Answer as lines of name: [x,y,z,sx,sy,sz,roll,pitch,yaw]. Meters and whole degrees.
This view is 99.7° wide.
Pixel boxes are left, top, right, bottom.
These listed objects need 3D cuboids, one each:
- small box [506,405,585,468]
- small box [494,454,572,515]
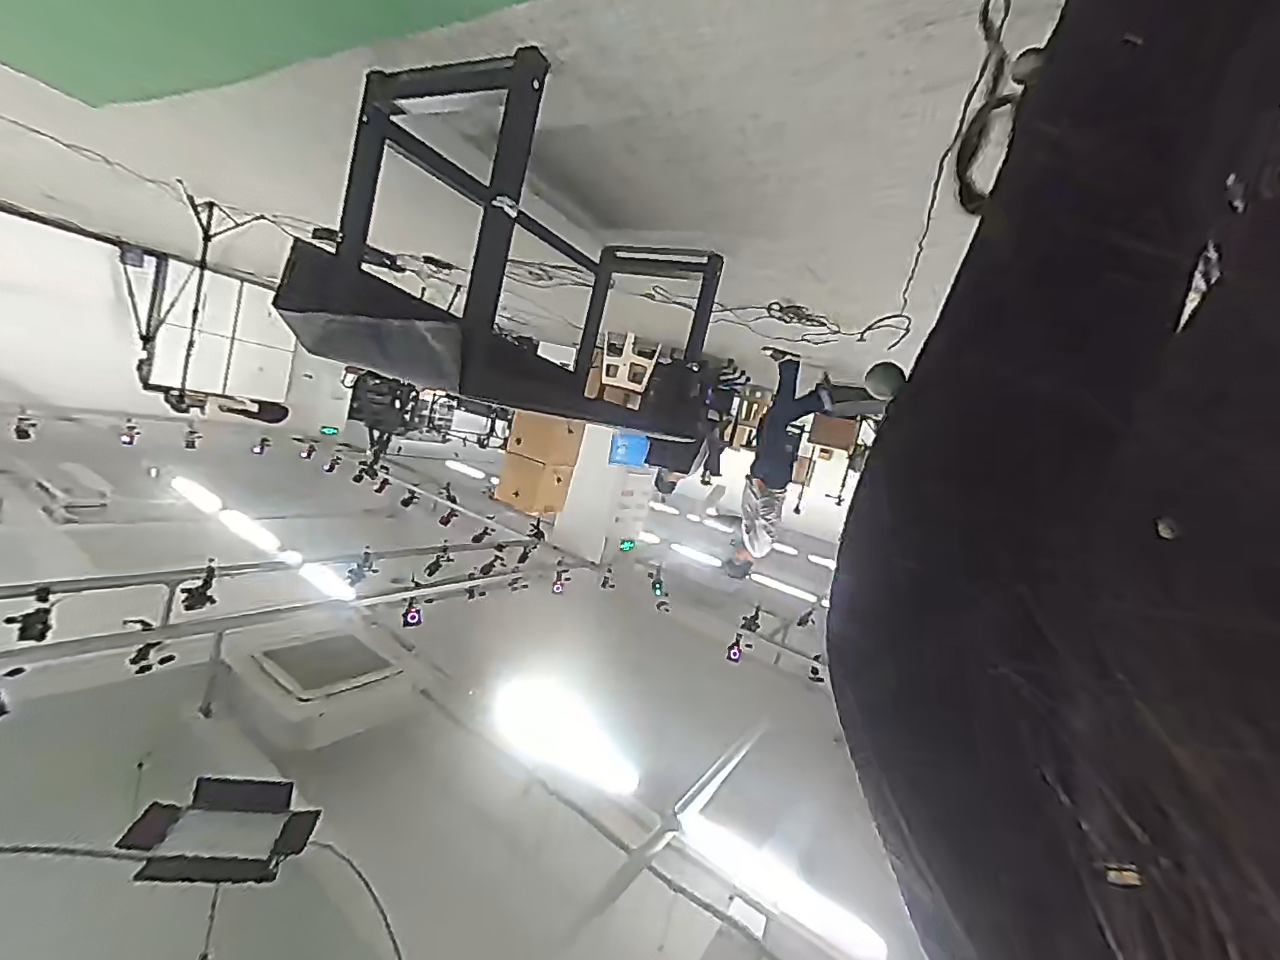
small box: [-0.305,-0.145,1.775,0.179,0.176,0.168,18,-172,28]
small box: [-0.350,0.009,1.796,0.179,0.176,0.168,17,-173,28]
